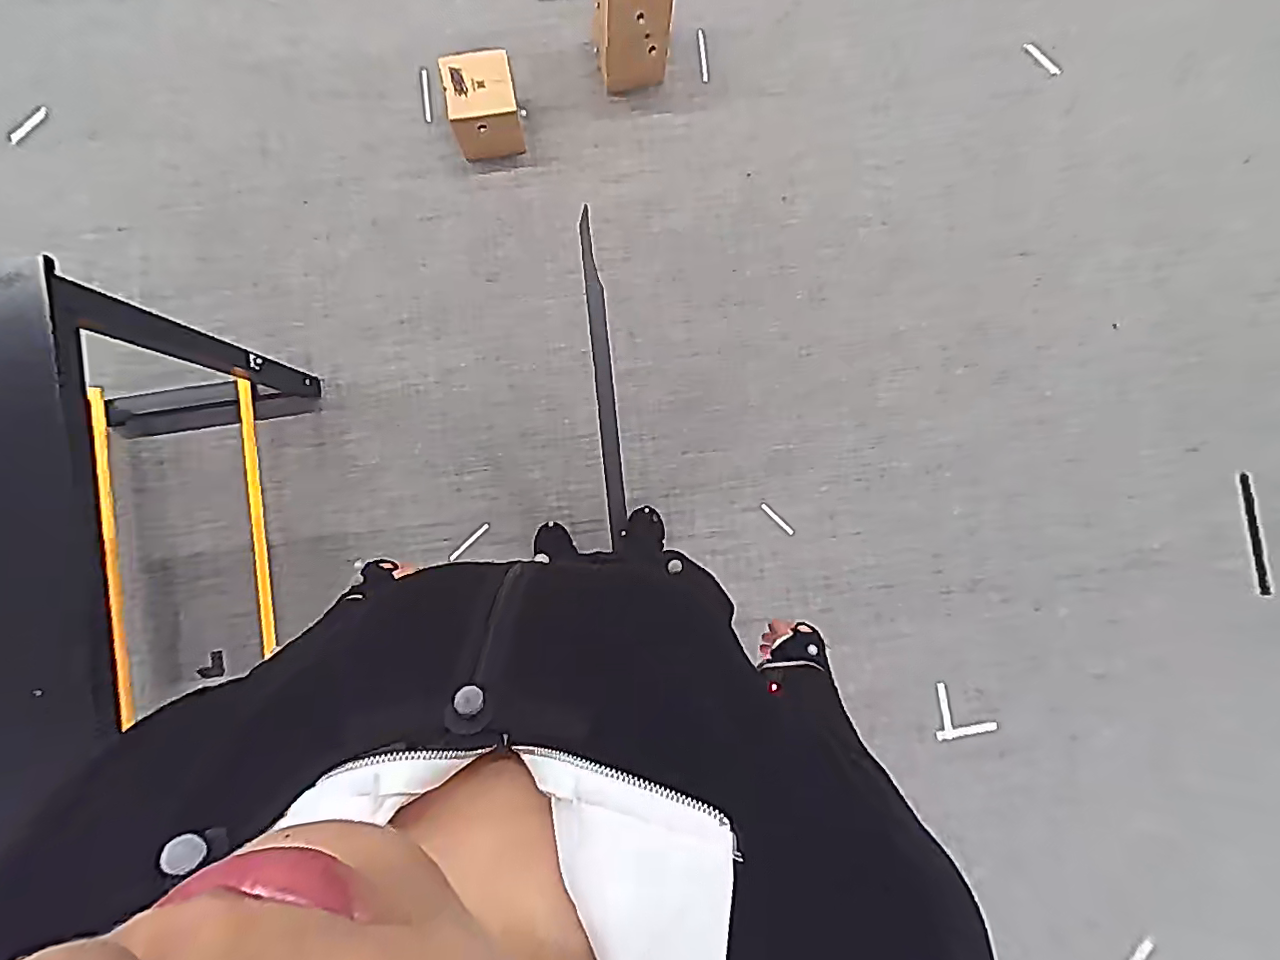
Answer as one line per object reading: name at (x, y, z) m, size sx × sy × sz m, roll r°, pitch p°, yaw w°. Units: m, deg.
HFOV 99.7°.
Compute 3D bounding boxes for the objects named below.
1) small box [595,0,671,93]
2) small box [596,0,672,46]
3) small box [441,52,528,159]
small box at (-0.025, -1.208, 1.480) m, size 0.179 × 0.176 × 0.168 m, roll -13°, pitch 88°, yaw -3°
small box at (-0.019, -1.205, 1.316) m, size 0.168 × 0.176 × 0.179 m, roll -14°, pitch 89°, yaw -3°
small box at (-0.413, -0.996, 1.454) m, size 0.179 × 0.176 × 0.168 m, roll -10°, pitch 88°, yaw -3°
